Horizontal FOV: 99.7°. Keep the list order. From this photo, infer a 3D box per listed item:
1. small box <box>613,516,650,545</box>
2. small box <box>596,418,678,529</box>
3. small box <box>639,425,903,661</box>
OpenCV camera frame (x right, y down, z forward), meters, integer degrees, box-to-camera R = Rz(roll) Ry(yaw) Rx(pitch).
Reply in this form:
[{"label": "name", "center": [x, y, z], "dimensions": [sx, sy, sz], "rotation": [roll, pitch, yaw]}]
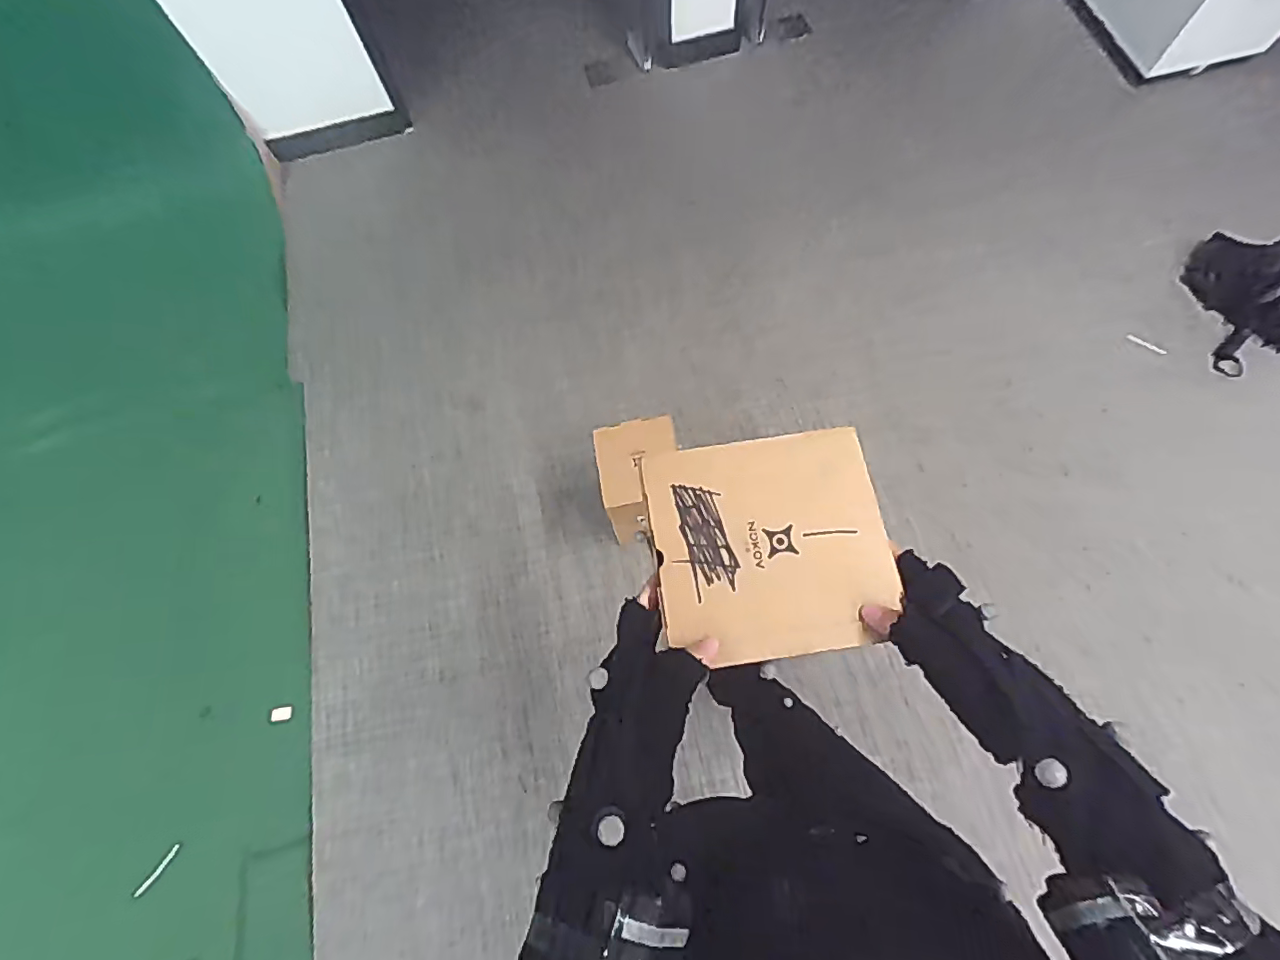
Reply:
[{"label": "small box", "center": [0.021, 0.051, 1.320], "dimensions": [0.179, 0.176, 0.168], "rotation": [-10, 69, 0]}, {"label": "small box", "center": [0.007, -0.009, 1.170], "dimensions": [0.168, 0.176, 0.179], "rotation": [-12, 70, 2]}, {"label": "small box", "center": [0.099, 0.068, 0.491], "dimensions": [0.179, 0.176, 0.168], "rotation": [-8, 71, -1]}]
